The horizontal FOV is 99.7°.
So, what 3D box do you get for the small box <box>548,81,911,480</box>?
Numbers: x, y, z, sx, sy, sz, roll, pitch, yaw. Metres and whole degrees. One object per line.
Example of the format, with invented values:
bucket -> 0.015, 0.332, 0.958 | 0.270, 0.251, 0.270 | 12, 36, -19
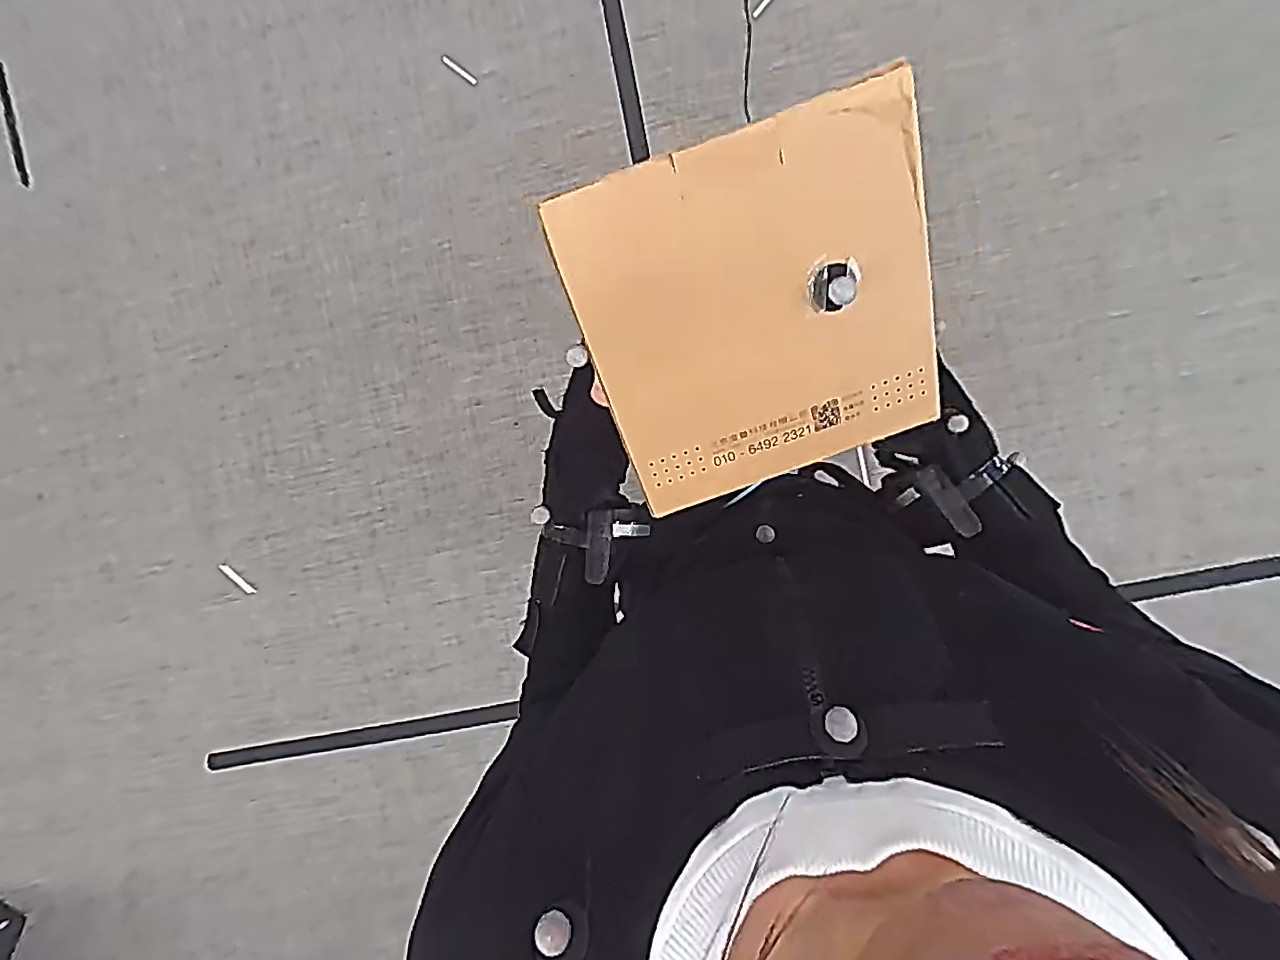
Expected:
small box -> 0.052, -0.117, 0.352 | 0.168, 0.179, 0.176 | -19, 117, 4
